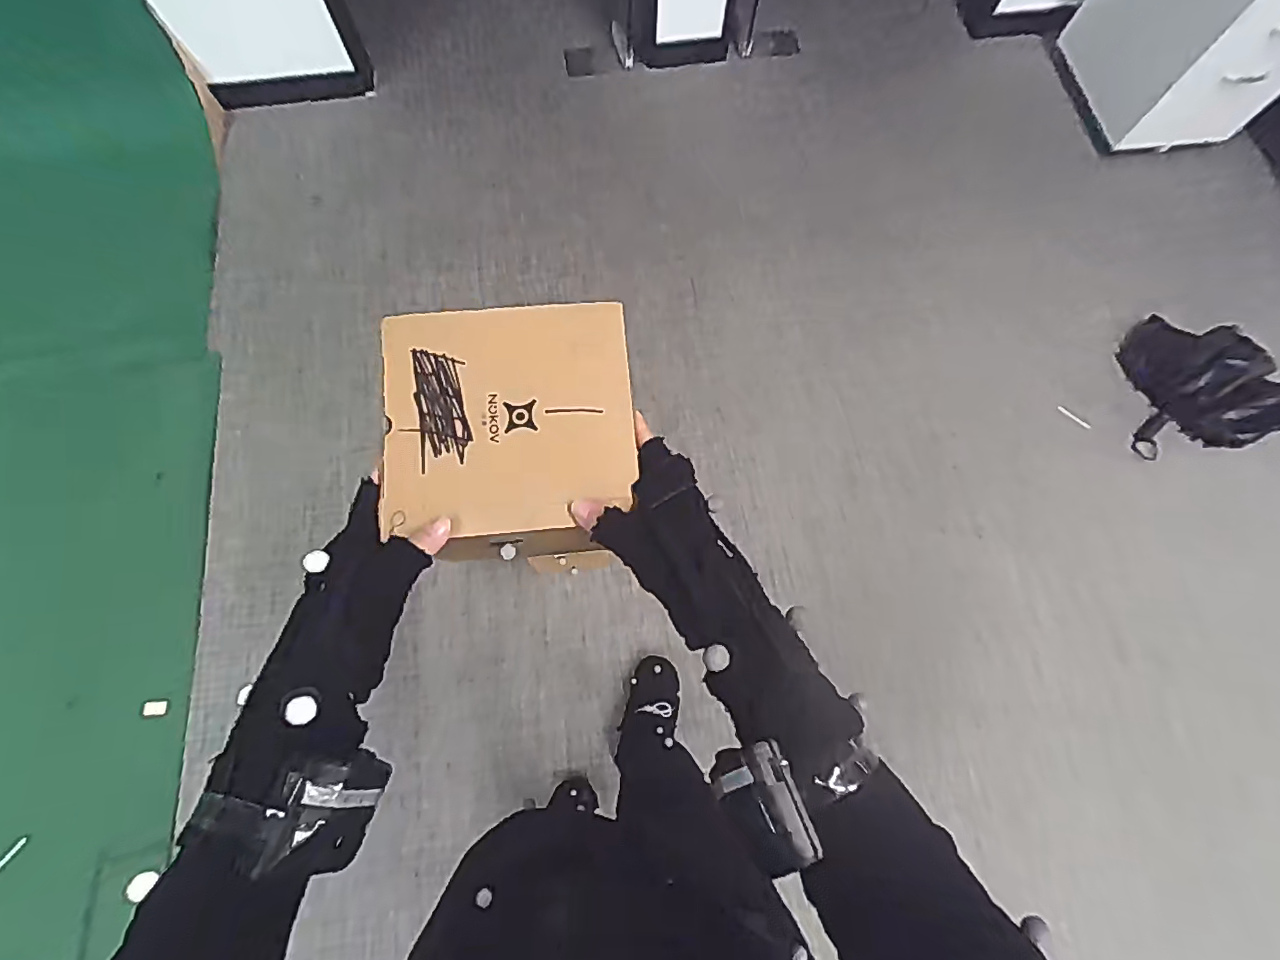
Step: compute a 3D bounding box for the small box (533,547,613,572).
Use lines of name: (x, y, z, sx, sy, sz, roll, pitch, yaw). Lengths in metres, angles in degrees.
small box: (-0.156, 0.121, 1.281, 0.179, 0.176, 0.168, -5, 72, -2)

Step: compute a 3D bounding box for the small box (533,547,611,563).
small box: (-0.155, 0.067, 1.127, 0.168, 0.176, 0.179, -8, 73, -1)

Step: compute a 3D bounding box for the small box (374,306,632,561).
small box: (-0.099, -0.025, 0.458, 0.179, 0.176, 0.168, -5, 77, -3)
